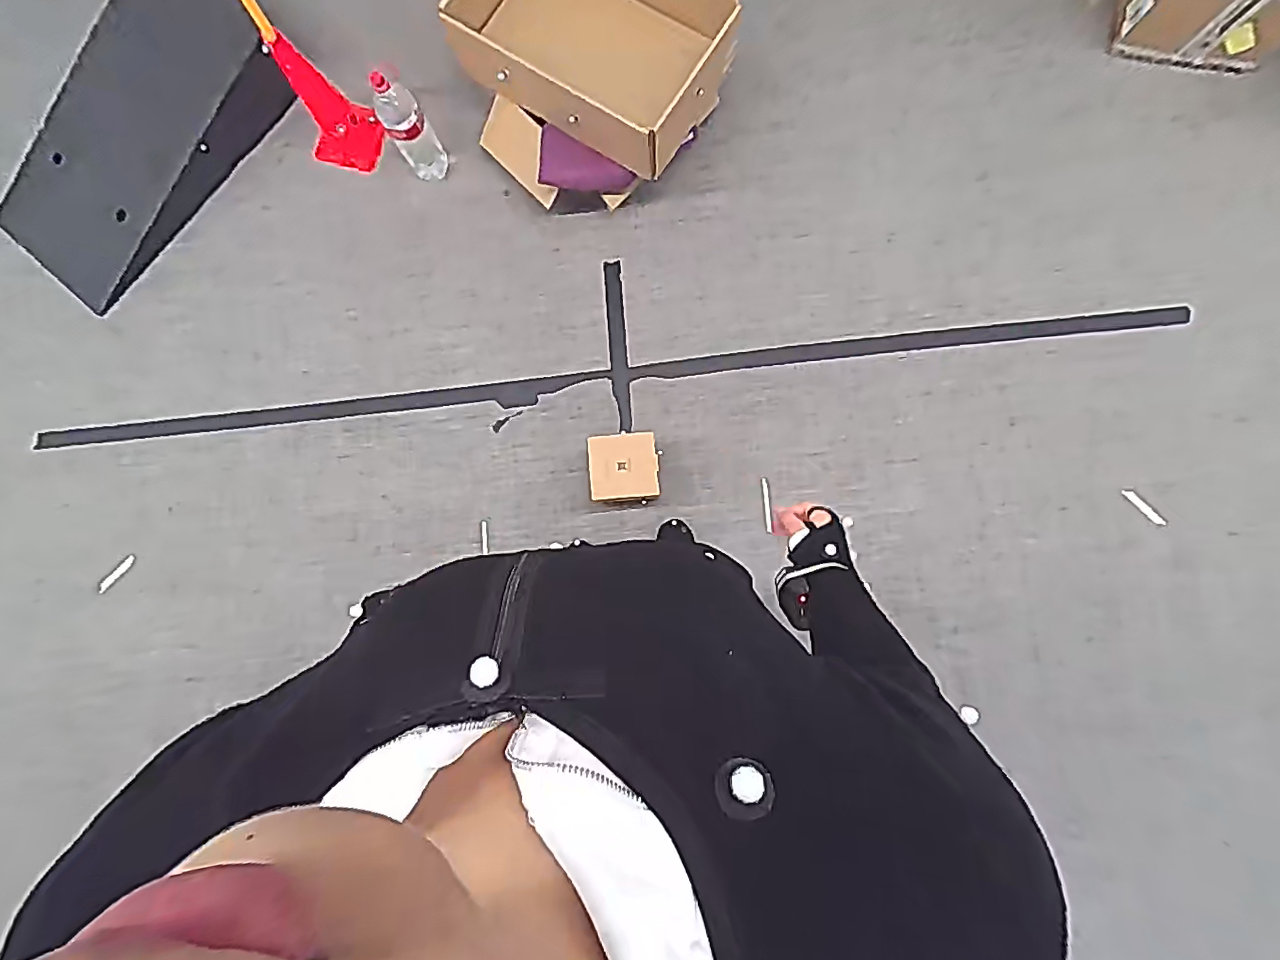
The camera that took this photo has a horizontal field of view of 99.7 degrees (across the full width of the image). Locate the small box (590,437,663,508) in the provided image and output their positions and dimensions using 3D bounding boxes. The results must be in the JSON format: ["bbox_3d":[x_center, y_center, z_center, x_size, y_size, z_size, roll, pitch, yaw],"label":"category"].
[{"bbox_3d":[-0.033,-0.016,1.449,0.179,0.176,0.168,-6,83,3],"label":"small box"}]
